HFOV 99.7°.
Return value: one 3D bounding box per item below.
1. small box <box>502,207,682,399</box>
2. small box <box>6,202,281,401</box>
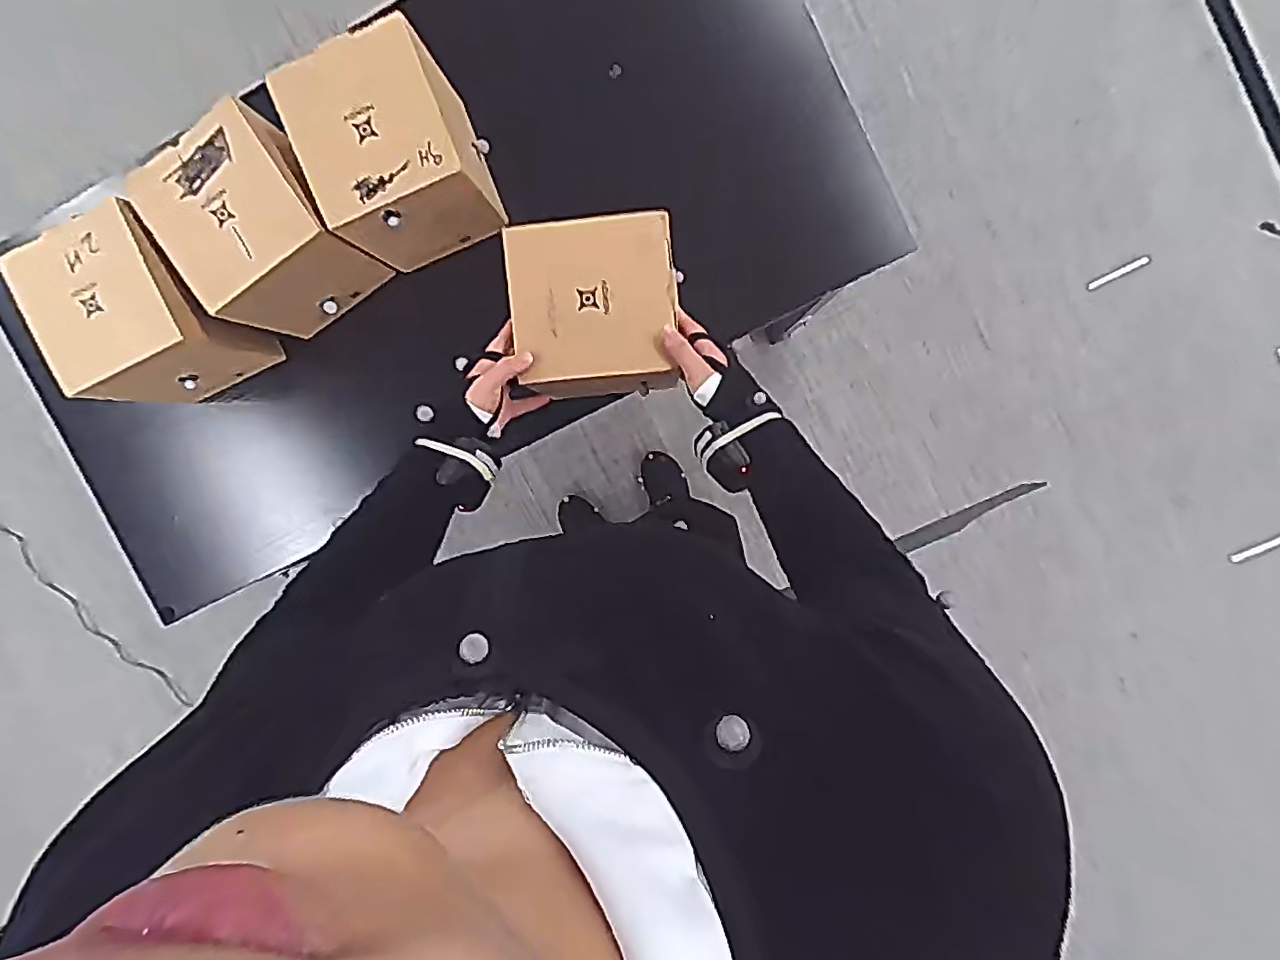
[{"bbox_3d":[-0.046,-0.194,0.640,0.179,0.176,0.168,-6,91,4],"label":"small box"},{"bbox_3d":[-0.617,-0.211,0.698,0.168,0.176,0.179,-23,92,5],"label":"small box"}]
